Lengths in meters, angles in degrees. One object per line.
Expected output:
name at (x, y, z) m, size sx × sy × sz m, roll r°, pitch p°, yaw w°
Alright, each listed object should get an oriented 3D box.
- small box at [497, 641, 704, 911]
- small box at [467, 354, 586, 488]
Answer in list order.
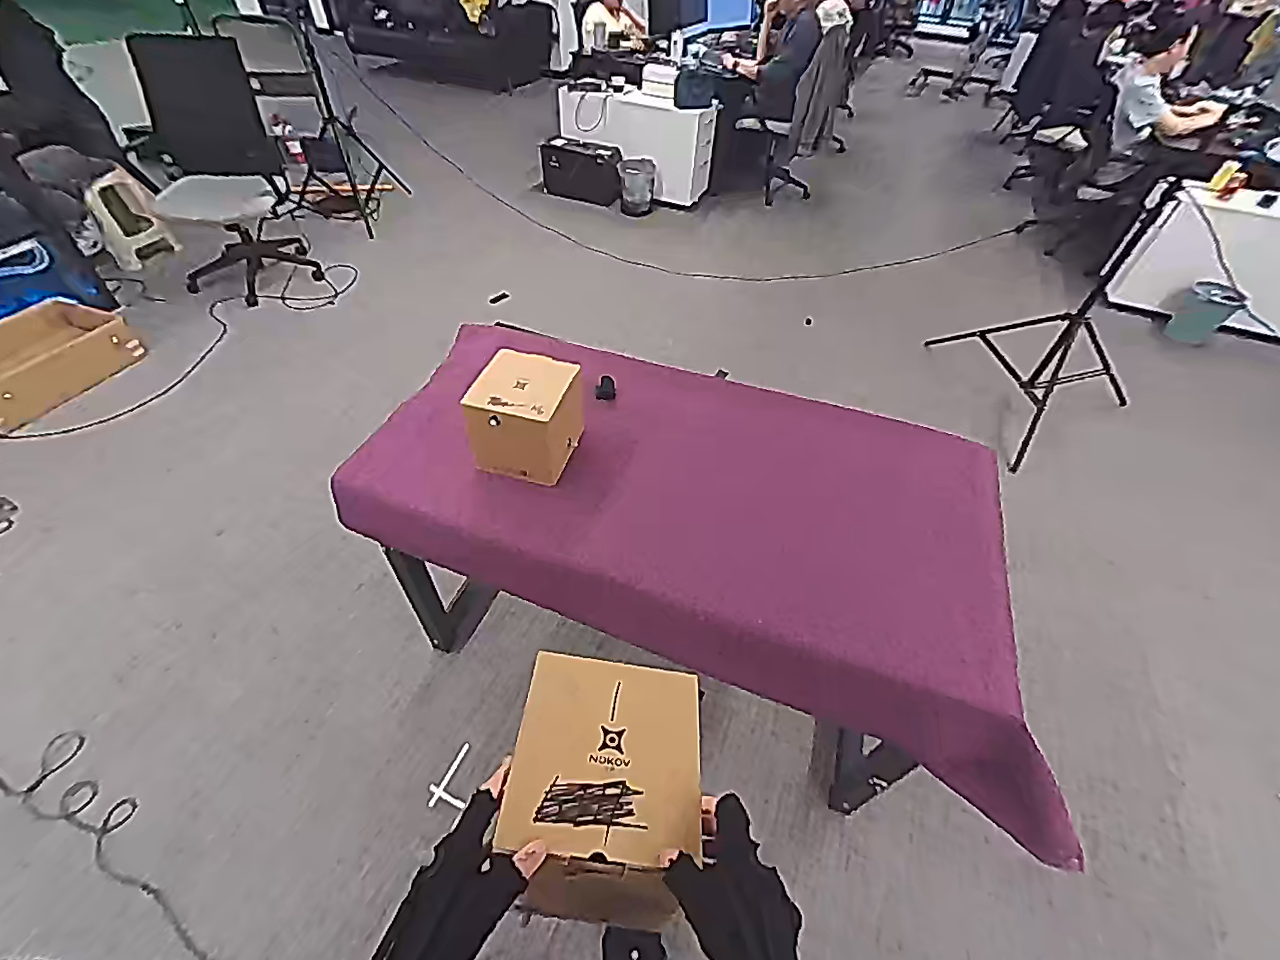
small box at (-0.036, 0.291, 0.532) m, size 0.168 × 0.176 × 0.179 m, roll 10°, pitch 37°, yaw -3°
small box at (-0.210, -0.114, 1.043) m, size 0.168 × 0.176 × 0.179 m, roll 13°, pitch 46°, yaw 8°
